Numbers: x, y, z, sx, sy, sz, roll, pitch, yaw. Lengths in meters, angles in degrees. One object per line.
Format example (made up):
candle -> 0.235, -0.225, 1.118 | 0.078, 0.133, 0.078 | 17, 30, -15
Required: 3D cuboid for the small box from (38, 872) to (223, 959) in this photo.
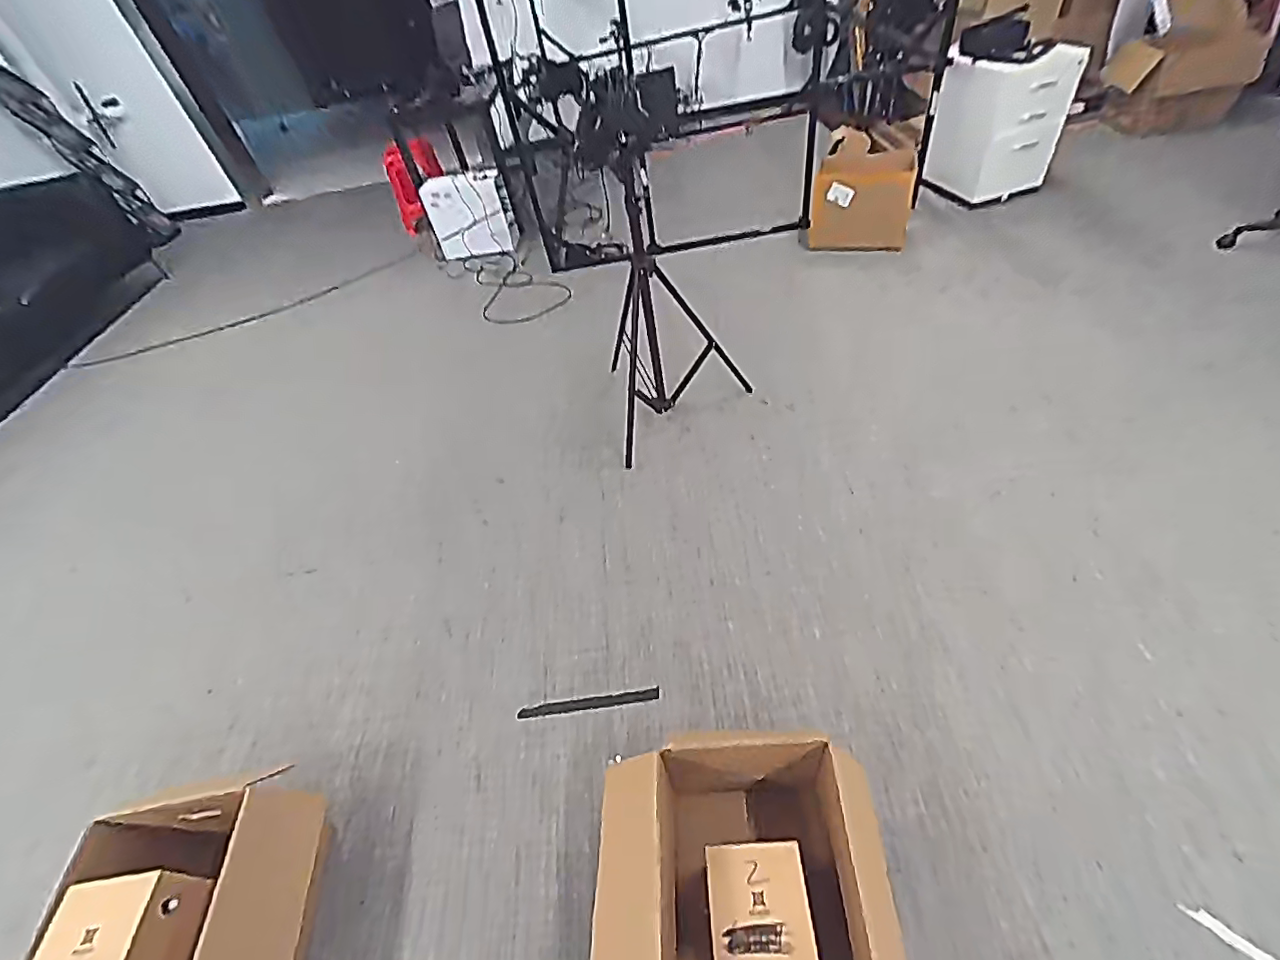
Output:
small box -> -0.871, 0.802, 0.926 | 0.168, 0.176, 0.179 | -11, 46, 2
